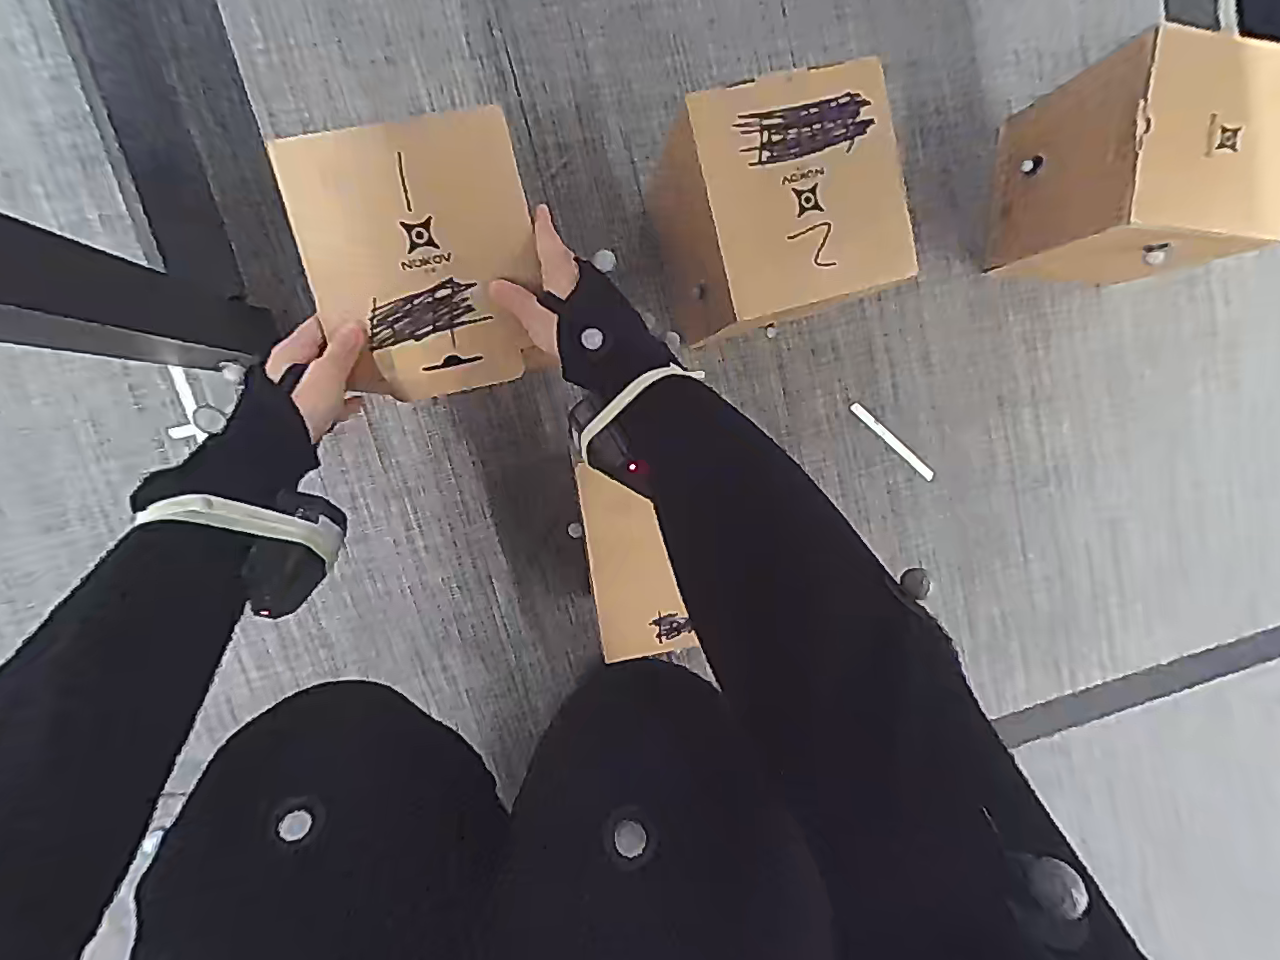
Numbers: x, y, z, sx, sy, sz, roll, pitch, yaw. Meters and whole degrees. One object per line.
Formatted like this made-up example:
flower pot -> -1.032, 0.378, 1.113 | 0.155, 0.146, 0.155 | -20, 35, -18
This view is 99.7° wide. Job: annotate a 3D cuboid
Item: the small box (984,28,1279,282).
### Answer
small box -> 0.505, -0.311, 0.560 | 0.179, 0.176, 0.168 | 2, 96, -8
